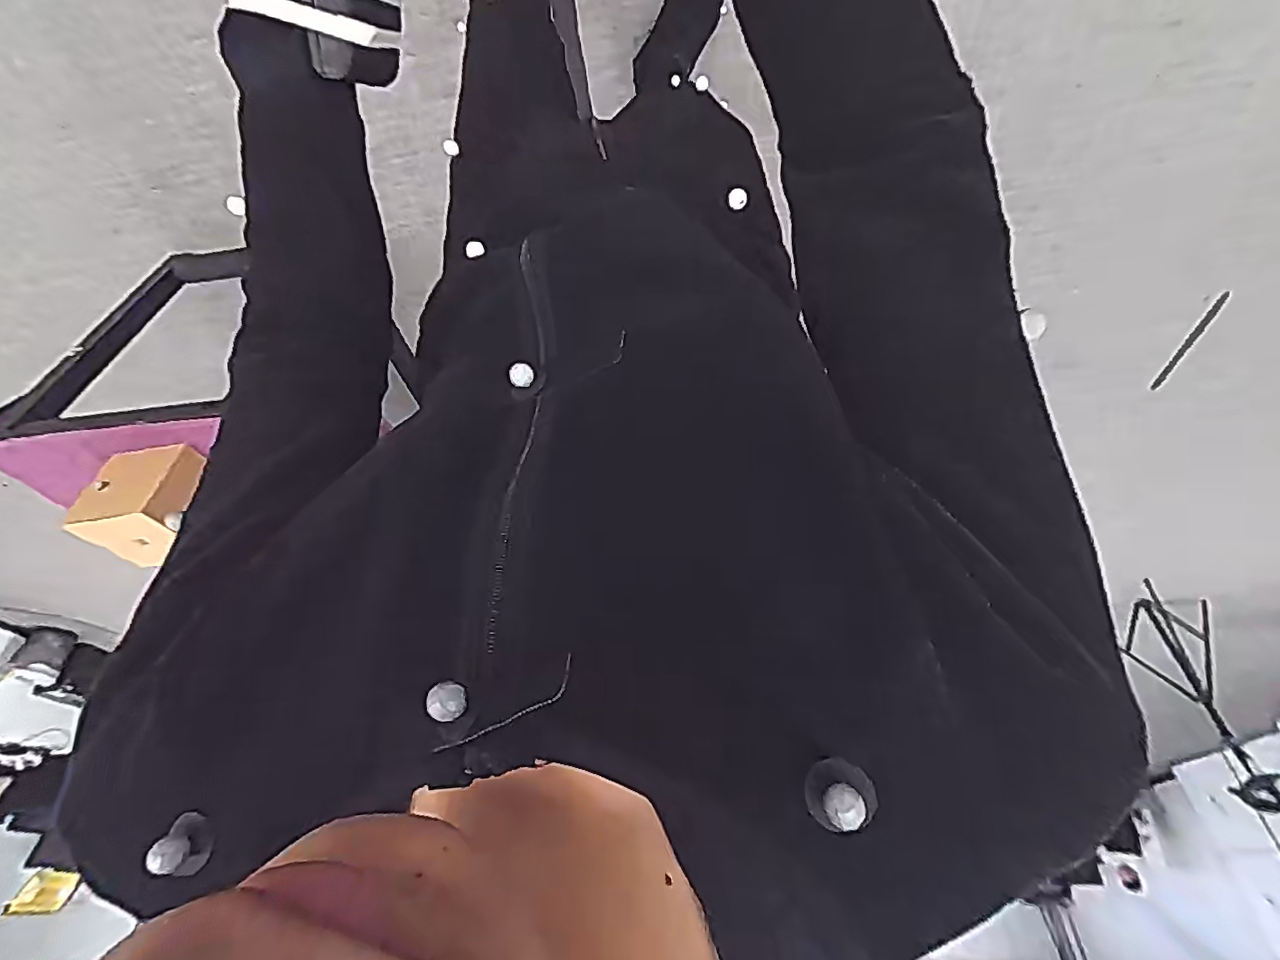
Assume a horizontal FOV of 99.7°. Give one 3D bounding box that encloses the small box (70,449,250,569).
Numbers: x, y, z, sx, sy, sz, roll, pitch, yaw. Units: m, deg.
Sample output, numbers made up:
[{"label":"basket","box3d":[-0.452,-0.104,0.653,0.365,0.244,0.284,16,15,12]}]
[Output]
[{"label":"small box","box3d":[-0.941,0.058,1.081,0.179,0.176,0.168,-7,142,9]}]
